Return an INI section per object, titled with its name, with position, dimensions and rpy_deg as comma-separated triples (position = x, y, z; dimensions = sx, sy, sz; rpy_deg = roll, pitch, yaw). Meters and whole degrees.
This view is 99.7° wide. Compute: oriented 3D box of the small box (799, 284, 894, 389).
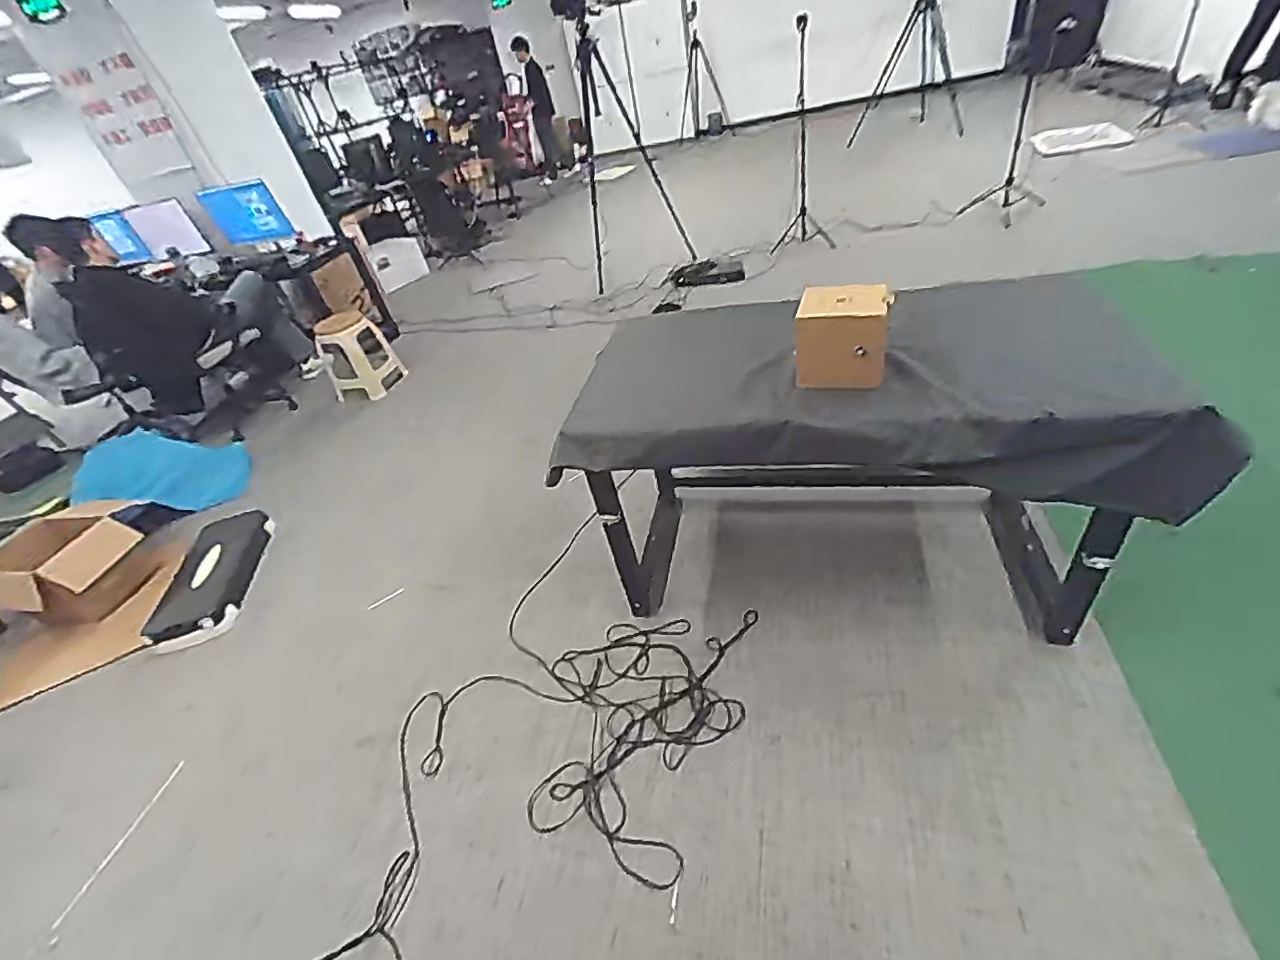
[small box]
position = 0.449, -0.309, 1.178
dimensions = 0.179, 0.176, 0.168
rpy_deg = 4, 40, 23
